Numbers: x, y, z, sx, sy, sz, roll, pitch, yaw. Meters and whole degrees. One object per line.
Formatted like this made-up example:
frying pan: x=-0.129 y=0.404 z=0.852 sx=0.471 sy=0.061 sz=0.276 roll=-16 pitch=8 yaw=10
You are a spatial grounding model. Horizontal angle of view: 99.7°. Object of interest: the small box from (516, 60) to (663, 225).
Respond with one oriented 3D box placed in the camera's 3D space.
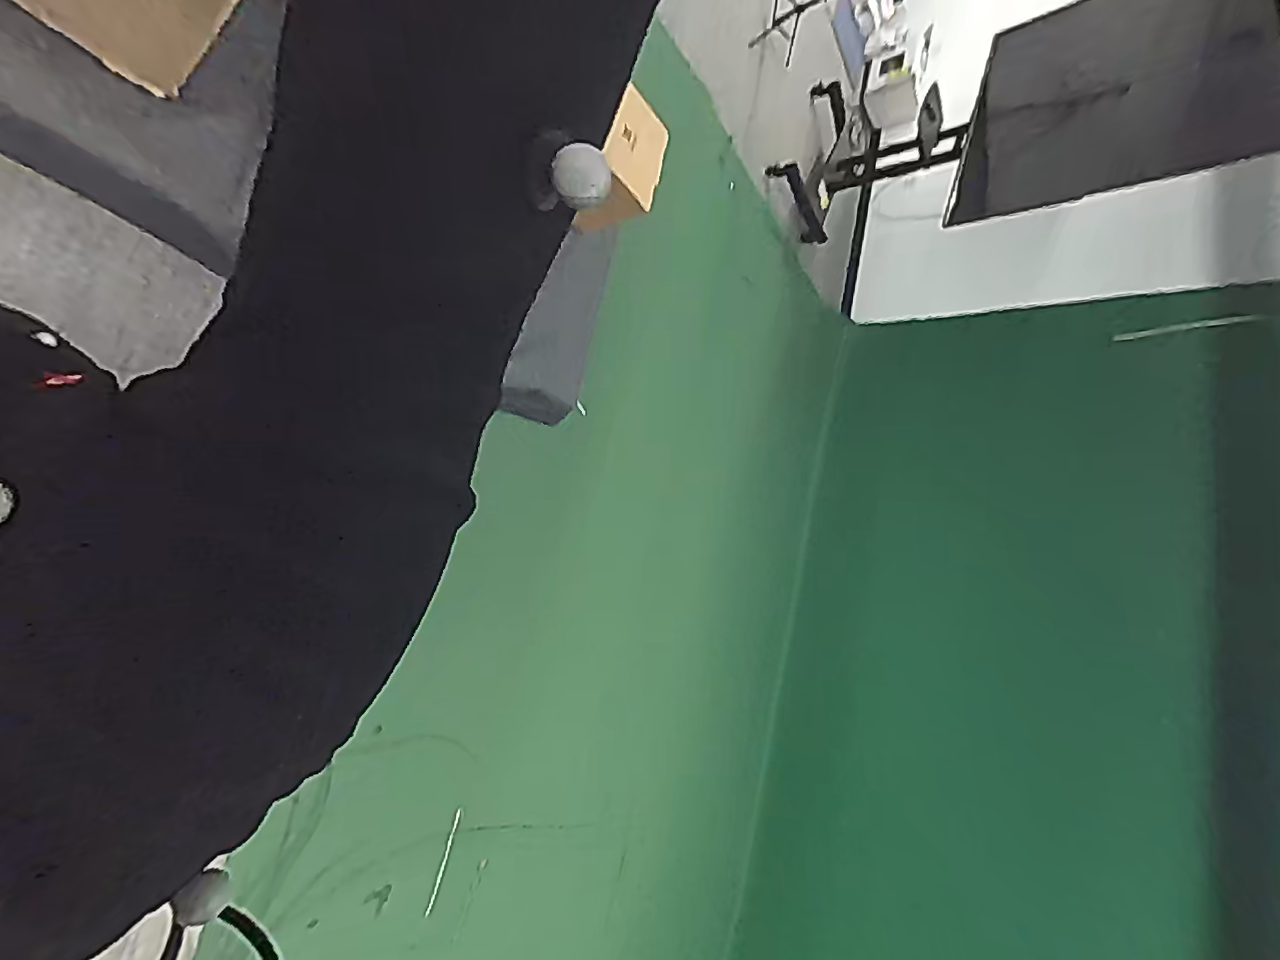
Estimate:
small box: x=-0.089 y=-0.587 z=0.972 sx=0.179 sy=0.176 sz=0.168 roll=26 pitch=74 yaw=-50
